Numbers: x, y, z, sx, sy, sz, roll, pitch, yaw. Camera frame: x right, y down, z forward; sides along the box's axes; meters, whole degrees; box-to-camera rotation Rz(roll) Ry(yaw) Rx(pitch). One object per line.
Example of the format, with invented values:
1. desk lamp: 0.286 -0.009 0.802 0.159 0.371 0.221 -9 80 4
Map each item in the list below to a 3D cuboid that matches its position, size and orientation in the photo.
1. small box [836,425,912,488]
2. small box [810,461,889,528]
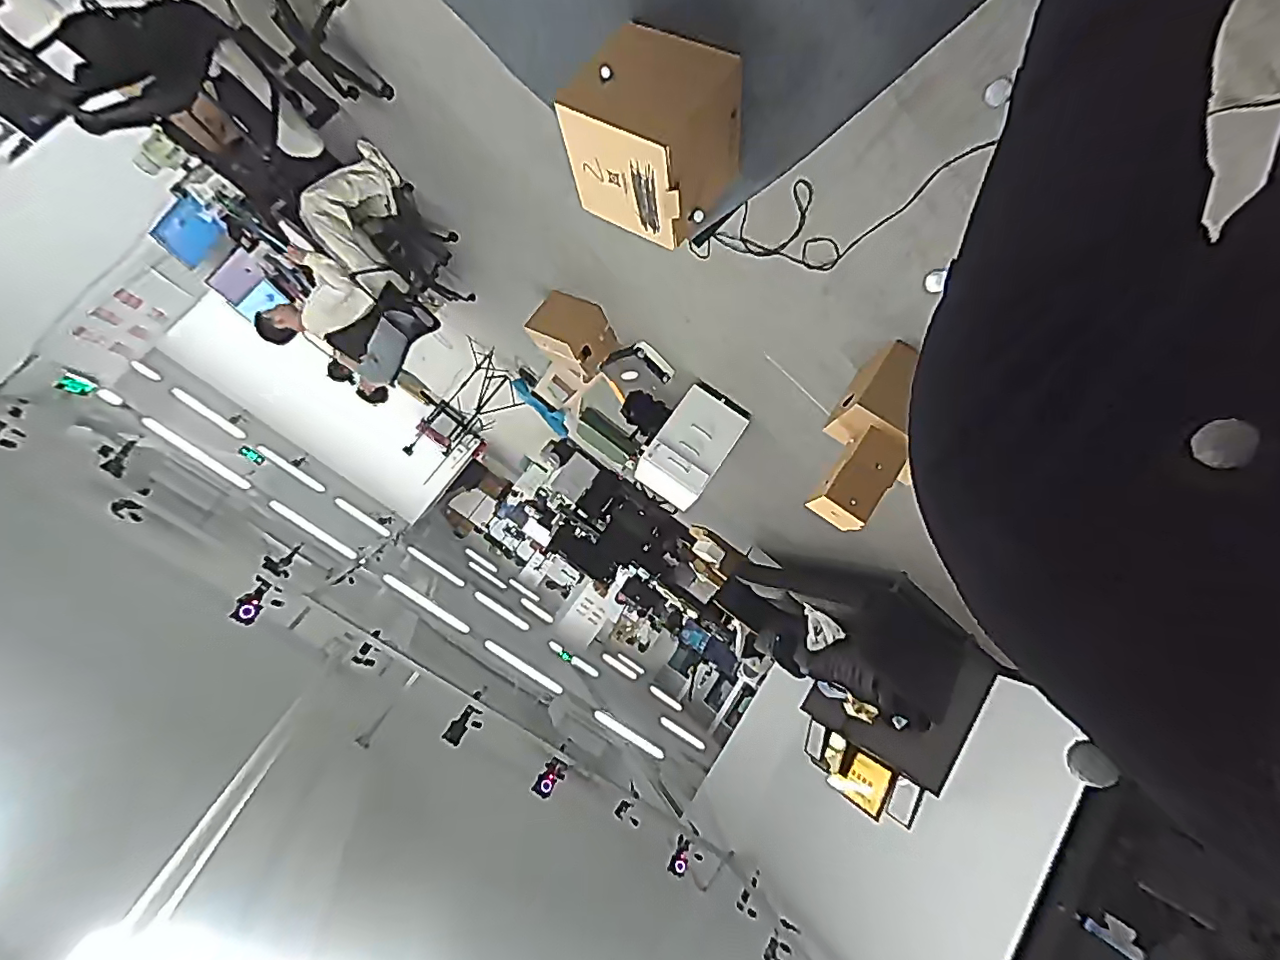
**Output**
1. small box: 0.855 -0.074 1.981 0.179 0.176 0.168 35 167 3
2. small box: 0.752 0.047 1.944 0.179 0.176 0.168 35 166 2
